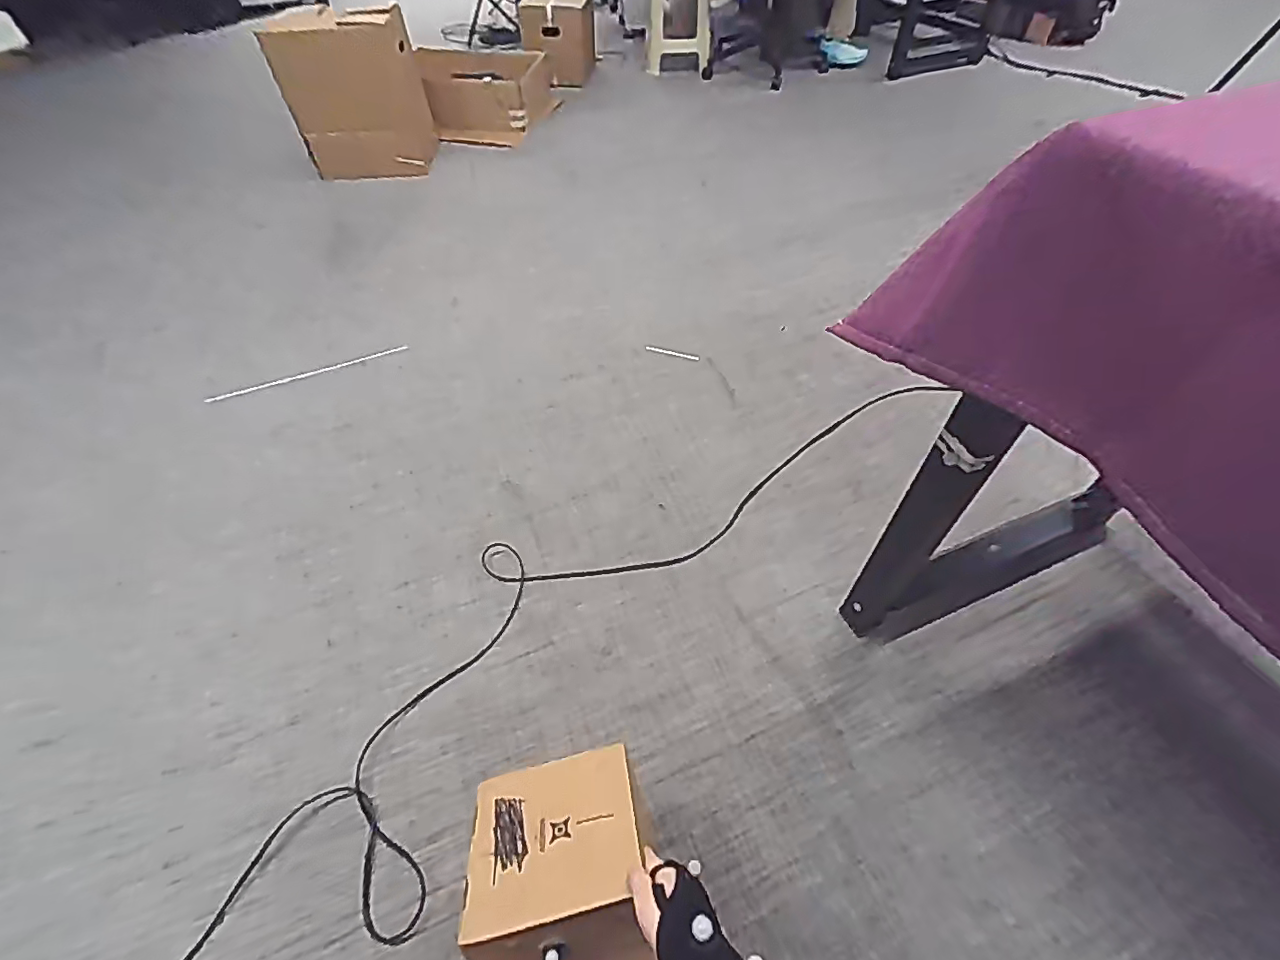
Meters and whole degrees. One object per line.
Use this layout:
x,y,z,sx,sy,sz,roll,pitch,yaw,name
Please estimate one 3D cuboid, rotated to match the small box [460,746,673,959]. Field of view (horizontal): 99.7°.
-0.075,0.438,0.596,0.179,0.176,0.168,-14,25,-4,small box
